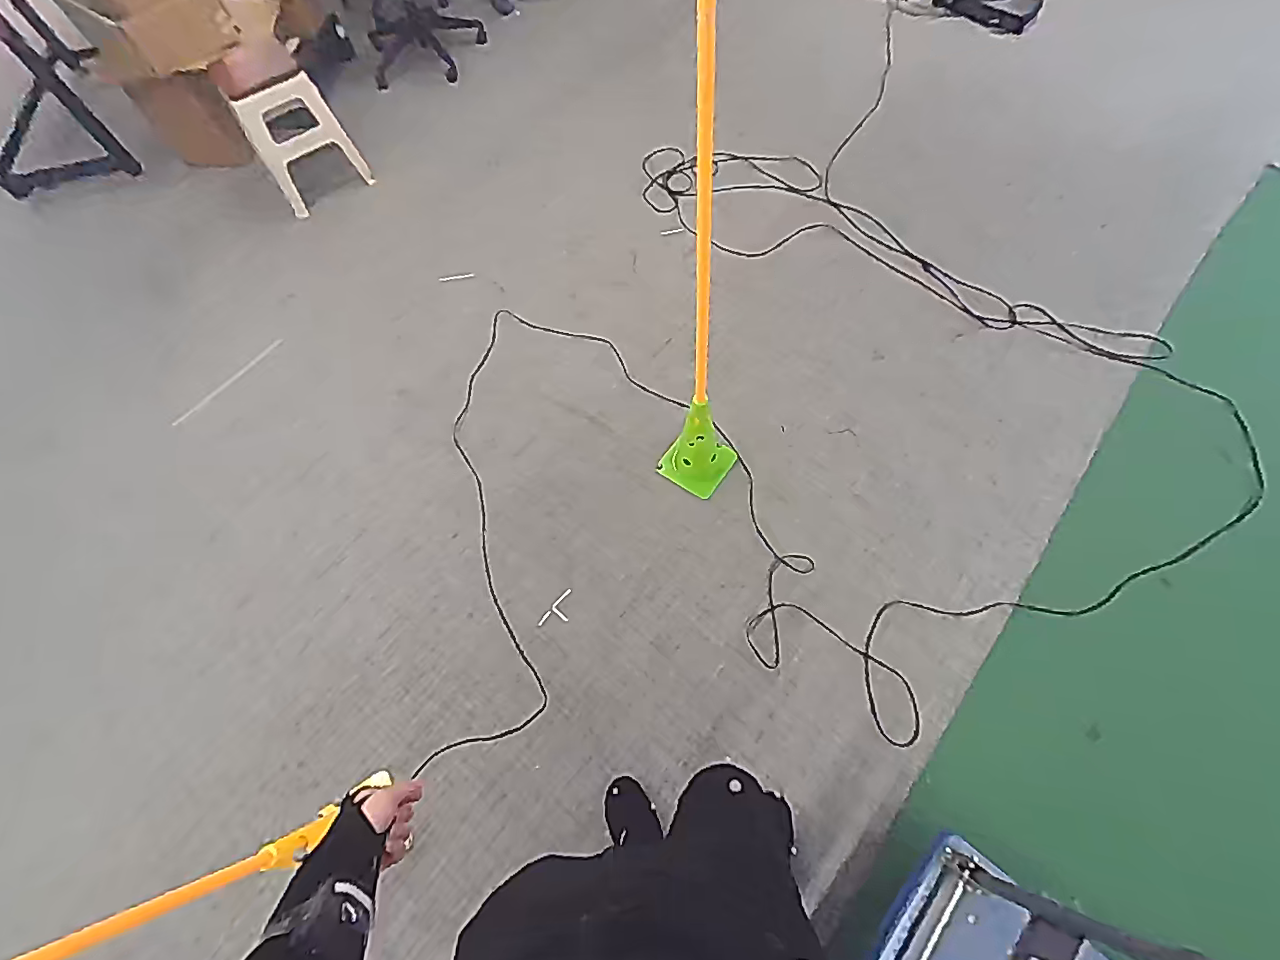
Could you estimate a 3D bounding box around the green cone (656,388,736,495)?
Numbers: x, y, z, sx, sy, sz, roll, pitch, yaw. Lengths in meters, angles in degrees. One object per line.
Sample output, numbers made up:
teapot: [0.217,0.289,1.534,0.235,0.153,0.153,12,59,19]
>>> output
green cone: [0.169,-0.141,1.568,0.200,0.368,0.202,32,69,17]
